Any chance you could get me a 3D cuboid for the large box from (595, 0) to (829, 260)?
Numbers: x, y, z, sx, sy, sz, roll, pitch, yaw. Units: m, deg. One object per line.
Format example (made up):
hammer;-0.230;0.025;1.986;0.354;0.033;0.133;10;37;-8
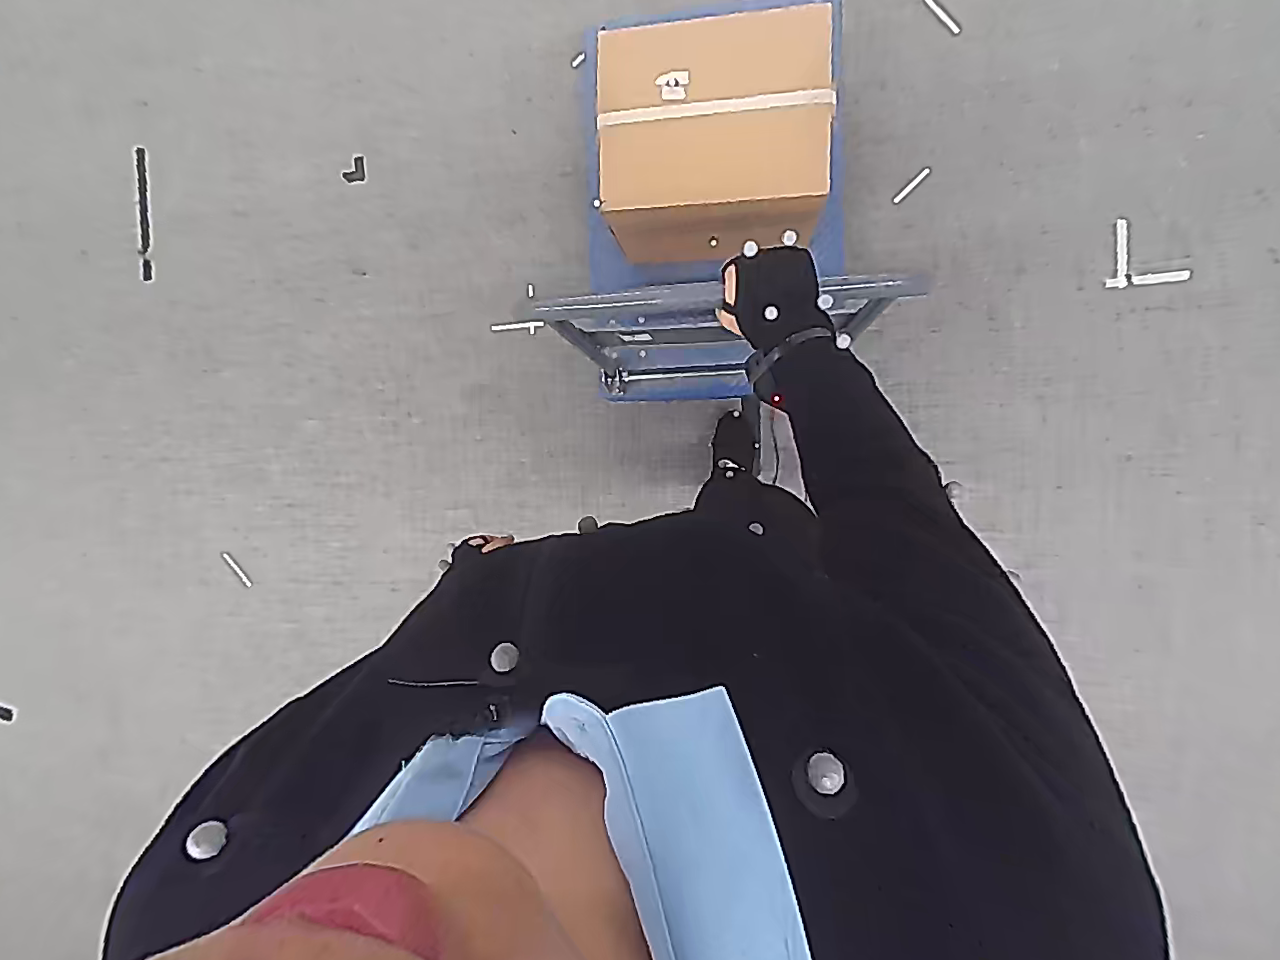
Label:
large box;0.145;-0.655;1.080;0.408;0.320;0.320;0;93;10
